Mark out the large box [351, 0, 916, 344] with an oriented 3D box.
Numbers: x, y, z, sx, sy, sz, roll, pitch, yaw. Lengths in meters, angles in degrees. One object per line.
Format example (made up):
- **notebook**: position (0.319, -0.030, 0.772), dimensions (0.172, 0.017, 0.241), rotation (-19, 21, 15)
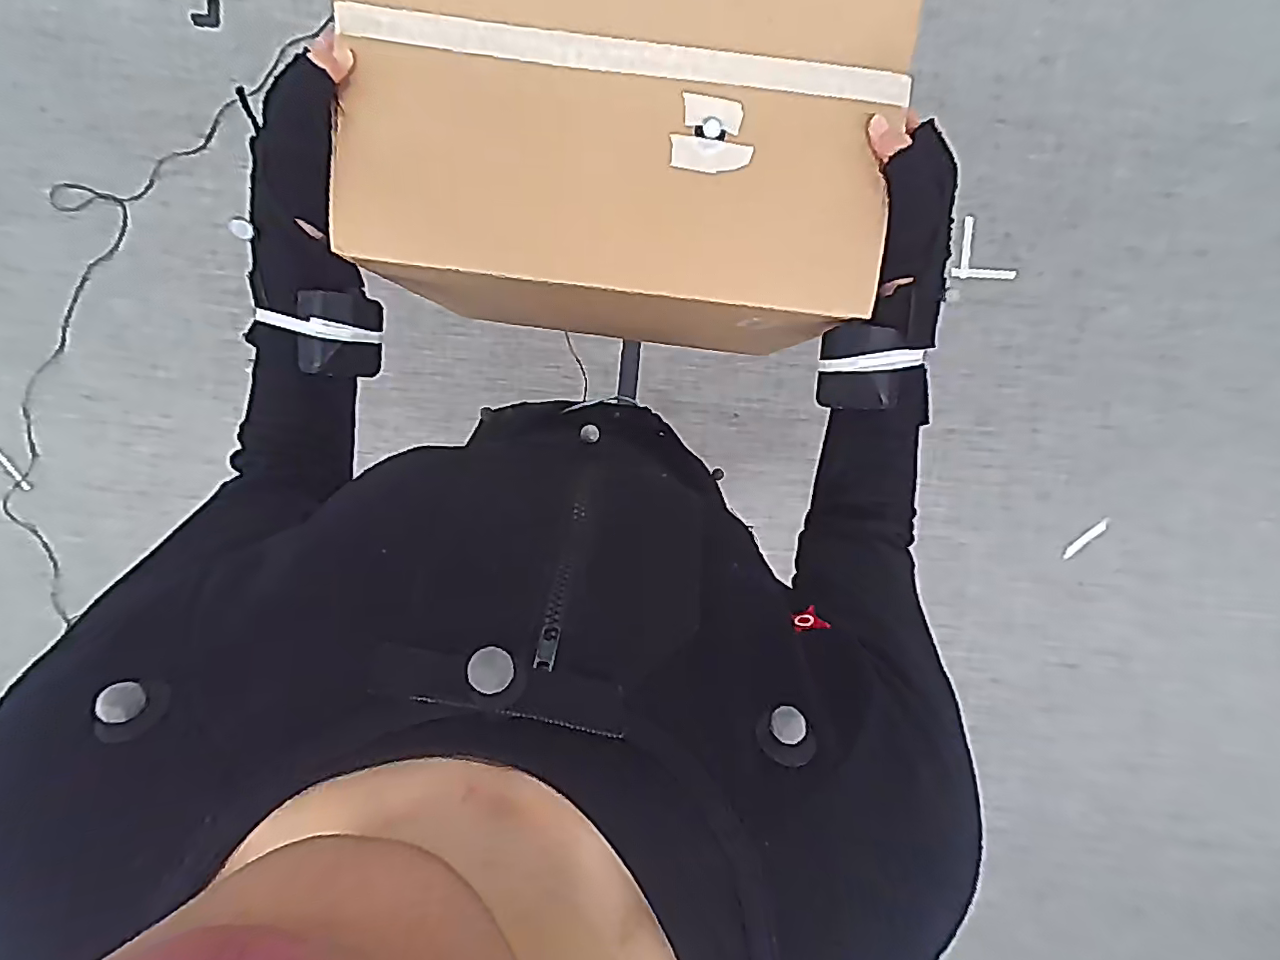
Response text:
- **large box**: position (-0.010, -0.326, 0.538), dimensions (0.408, 0.320, 0.320), rotation (6, 99, -2)
